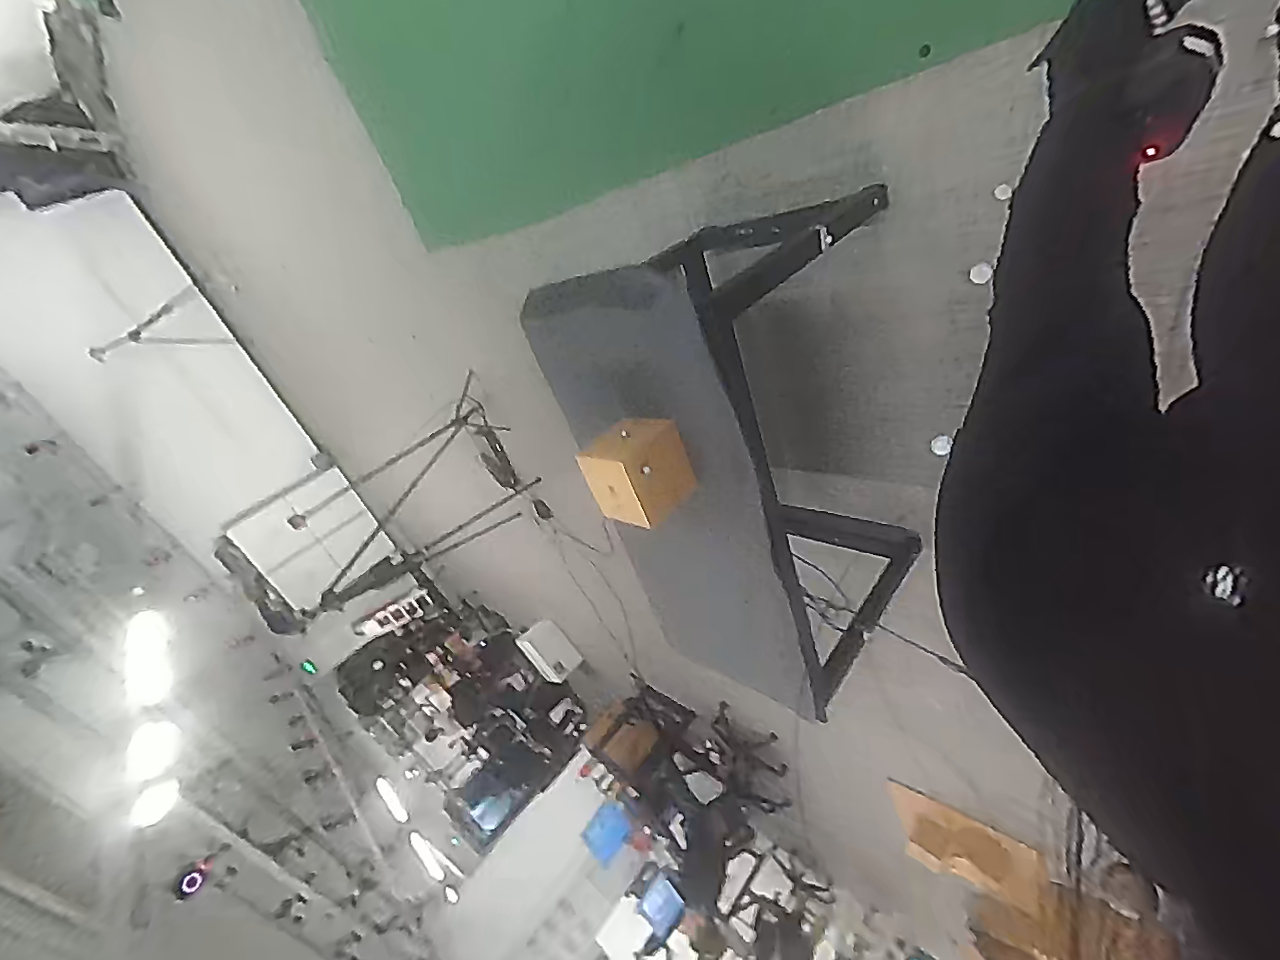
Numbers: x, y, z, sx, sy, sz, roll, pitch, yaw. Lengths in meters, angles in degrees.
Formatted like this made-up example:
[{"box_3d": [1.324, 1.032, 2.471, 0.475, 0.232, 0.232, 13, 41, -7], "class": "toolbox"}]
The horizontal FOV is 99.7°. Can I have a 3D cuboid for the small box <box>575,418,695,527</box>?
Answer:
[{"box_3d": [-0.007, -0.025, 1.204, 0.168, 0.176, 0.179, 10, 132, 47], "class": "small box"}]
